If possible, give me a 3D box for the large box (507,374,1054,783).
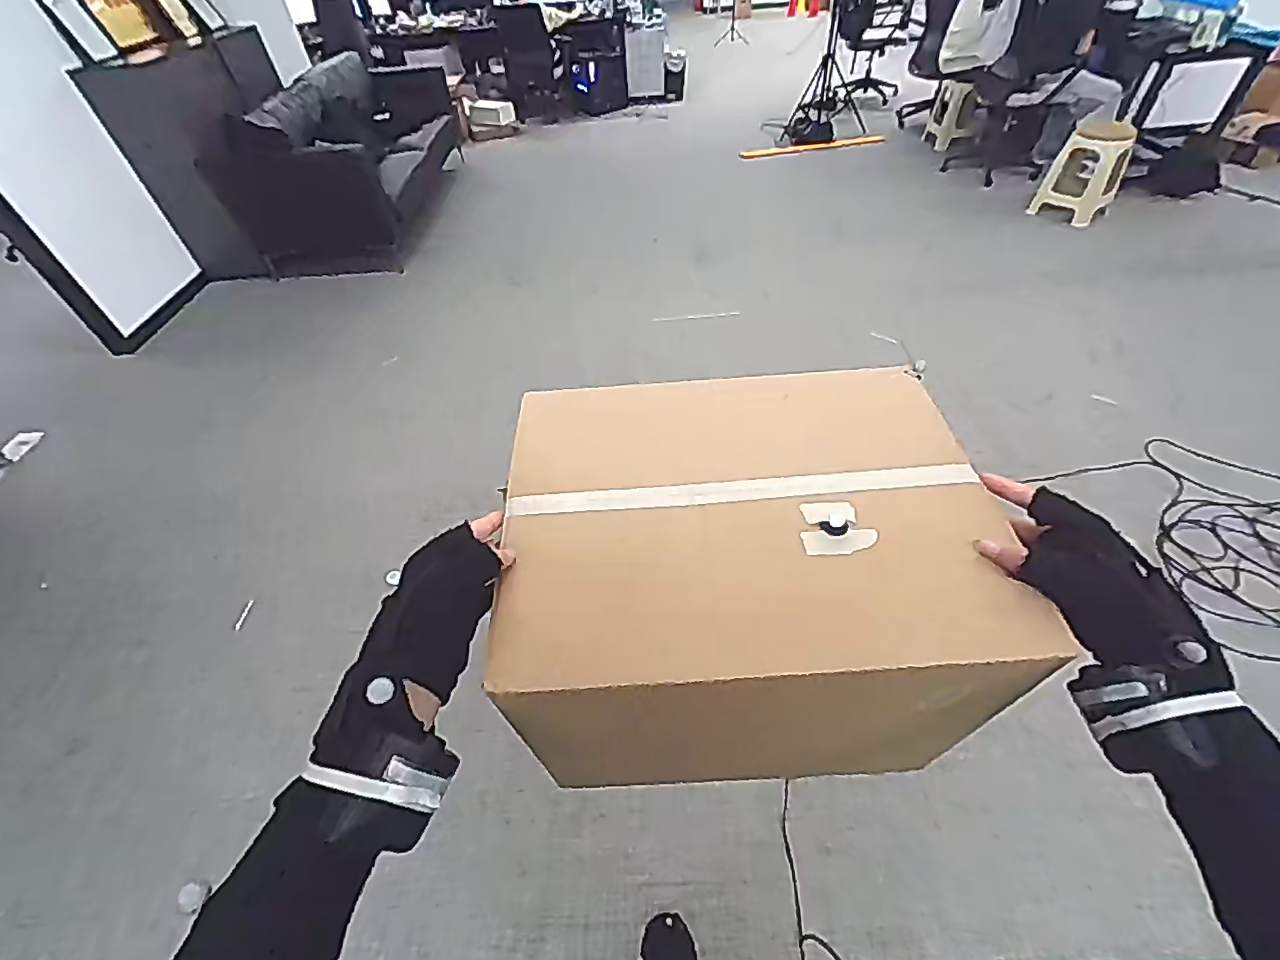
[{"bbox_3d":[0.097,0.112,0.591,0.408,0.320,0.320,-4,50,0],"label":"large box"}]
